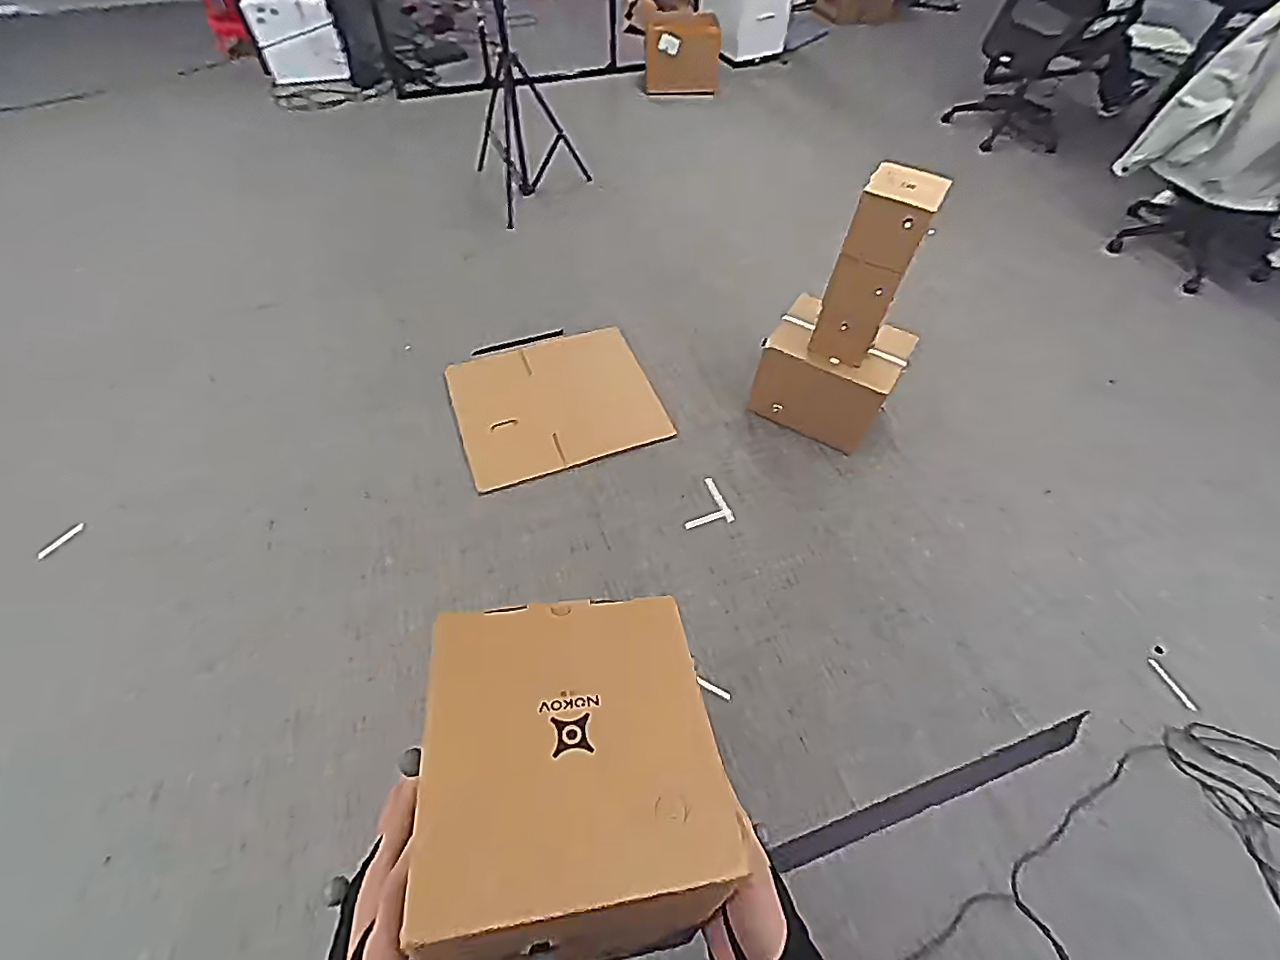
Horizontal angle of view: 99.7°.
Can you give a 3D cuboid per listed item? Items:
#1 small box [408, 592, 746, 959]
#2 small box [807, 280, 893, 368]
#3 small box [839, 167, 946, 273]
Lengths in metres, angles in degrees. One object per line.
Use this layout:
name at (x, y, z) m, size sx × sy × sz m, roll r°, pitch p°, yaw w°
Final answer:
small box at (-0.046, 0.202, 0.368) m, size 0.168 × 0.176 × 0.179 m, roll -2°, pitch 40°, yaw -12°
small box at (0.631, -0.469, 1.644) m, size 0.179 × 0.176 × 0.168 m, roll 26°, pitch 59°, yaw 14°
small box at (0.635, -0.653, 1.371) m, size 0.179 × 0.176 × 0.168 m, roll 26°, pitch 59°, yaw 15°
